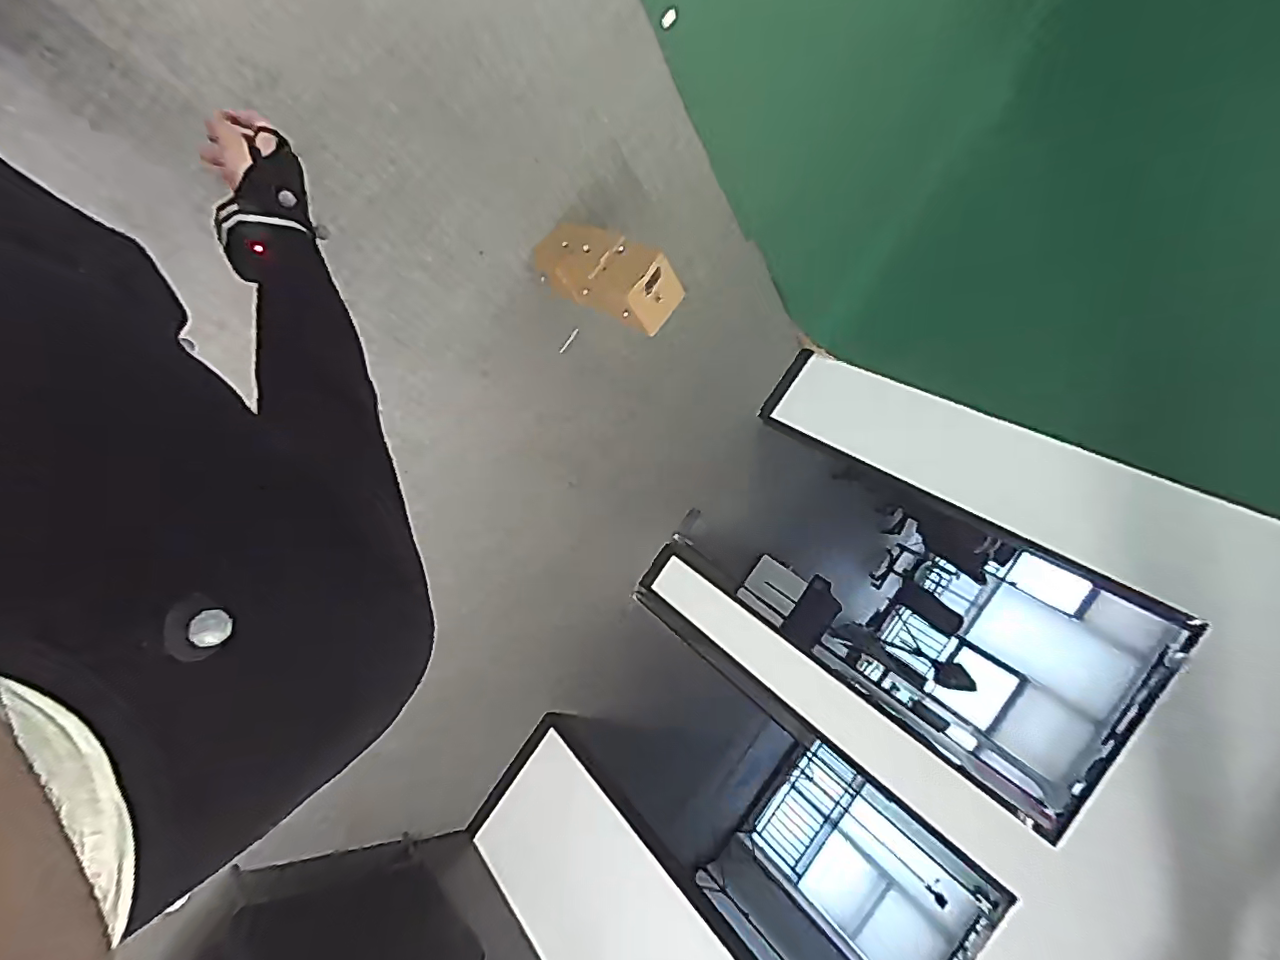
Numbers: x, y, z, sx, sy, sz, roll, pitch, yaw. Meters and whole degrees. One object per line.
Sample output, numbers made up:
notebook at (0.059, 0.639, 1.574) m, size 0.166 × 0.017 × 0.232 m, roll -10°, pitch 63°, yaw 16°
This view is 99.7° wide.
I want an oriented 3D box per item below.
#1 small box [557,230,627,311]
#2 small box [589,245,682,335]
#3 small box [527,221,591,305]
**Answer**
small box at (-0.122, -0.643, 1.662) m, size 0.168 × 0.176 × 0.179 m, roll -52°, pitch 142°, yaw -5°
small box at (-0.015, -0.557, 1.570) m, size 0.168 × 0.176 × 0.179 m, roll -53°, pitch 144°, yaw -4°
small box at (-0.232, -0.712, 1.762) m, size 0.179 × 0.176 × 0.168 m, roll -51°, pitch 143°, yaw -5°
